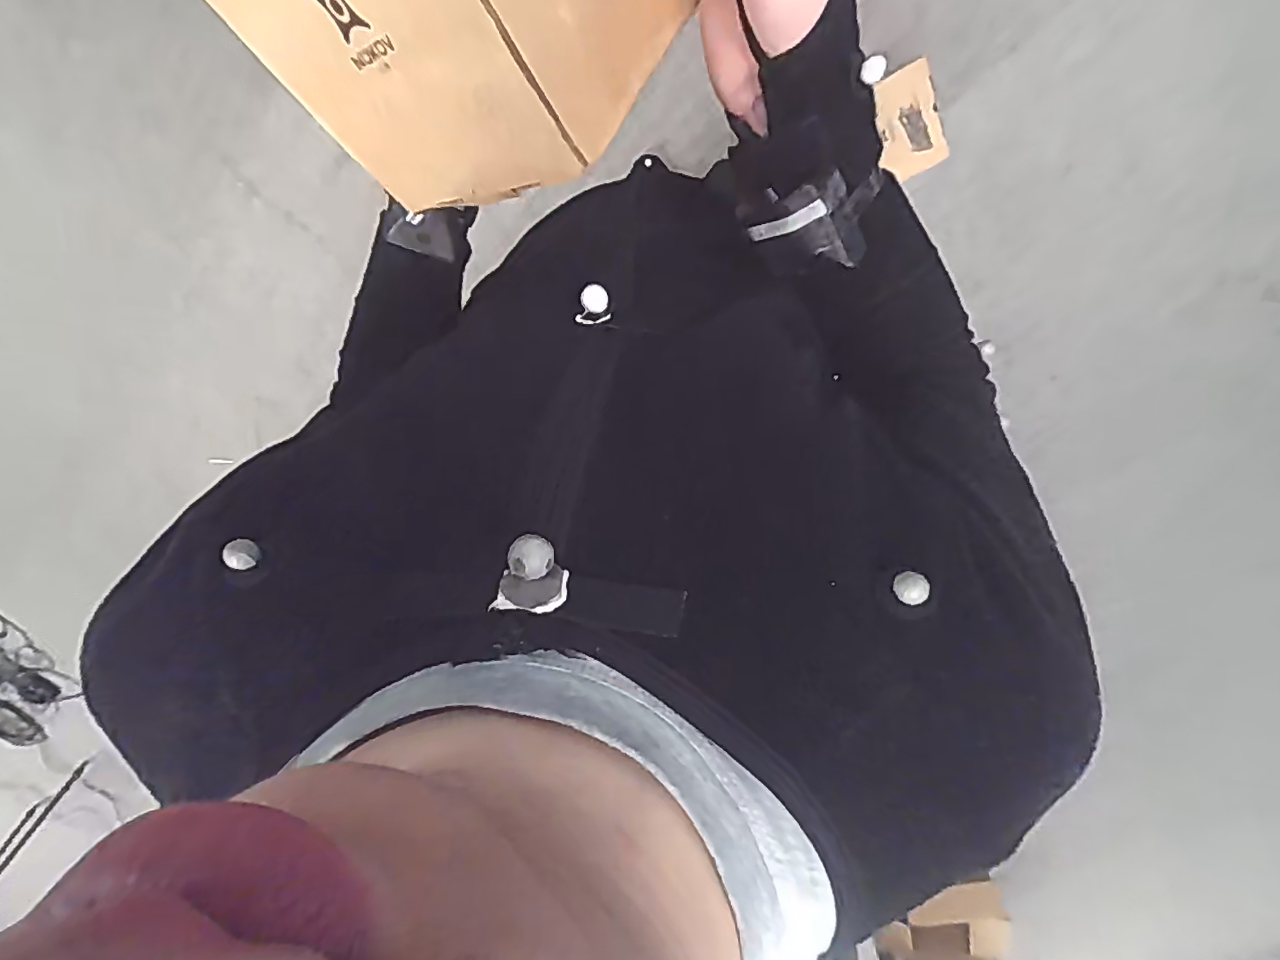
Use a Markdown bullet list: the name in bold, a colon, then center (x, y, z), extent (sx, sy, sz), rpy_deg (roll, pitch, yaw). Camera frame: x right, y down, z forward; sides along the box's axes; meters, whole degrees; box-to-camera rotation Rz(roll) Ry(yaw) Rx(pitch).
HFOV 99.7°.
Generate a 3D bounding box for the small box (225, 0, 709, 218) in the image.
- **small box**: center (-0.083, -0.270, 0.273), extent (0.168, 0.176, 0.179), rpy_deg (13, 159, 36)

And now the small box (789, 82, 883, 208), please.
- **small box**: center (0.442, -0.718, 1.170), extent (0.179, 0.176, 0.168), rpy_deg (-23, 115, 19)

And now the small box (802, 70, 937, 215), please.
- **small box**: center (0.428, -0.634, 1.029), extent (0.179, 0.176, 0.168), rpy_deg (-22, 115, 18)
